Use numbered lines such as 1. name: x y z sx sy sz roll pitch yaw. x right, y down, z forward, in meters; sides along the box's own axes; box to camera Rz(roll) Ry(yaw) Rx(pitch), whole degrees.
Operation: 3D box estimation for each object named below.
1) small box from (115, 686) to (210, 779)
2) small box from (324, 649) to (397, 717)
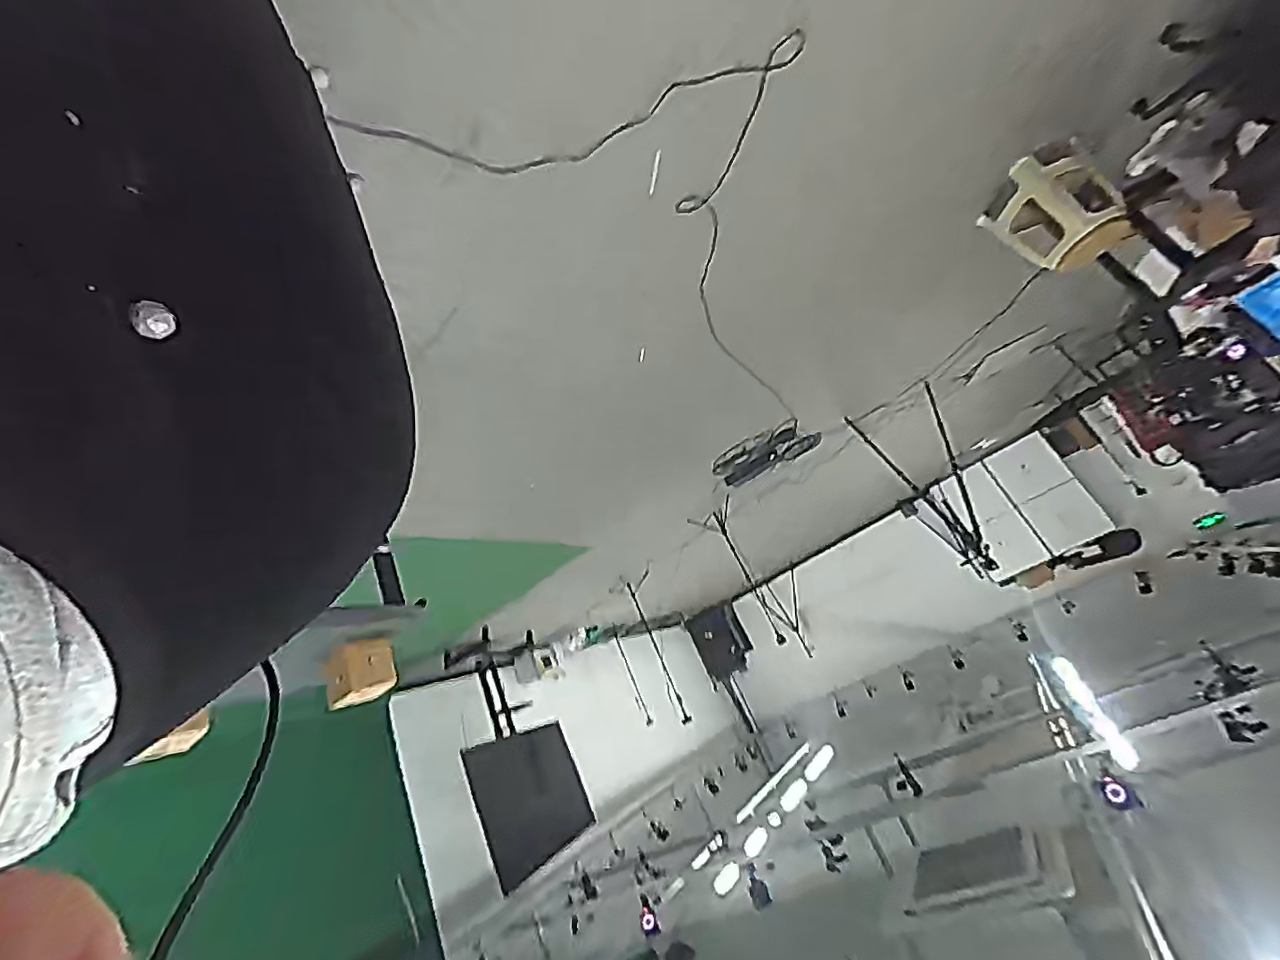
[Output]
1. small box: -1.373 0.717 1.551 0.179 0.176 0.168 -39 156 23
2. small box: -1.031 0.735 1.984 0.179 0.176 0.168 -39 155 26
